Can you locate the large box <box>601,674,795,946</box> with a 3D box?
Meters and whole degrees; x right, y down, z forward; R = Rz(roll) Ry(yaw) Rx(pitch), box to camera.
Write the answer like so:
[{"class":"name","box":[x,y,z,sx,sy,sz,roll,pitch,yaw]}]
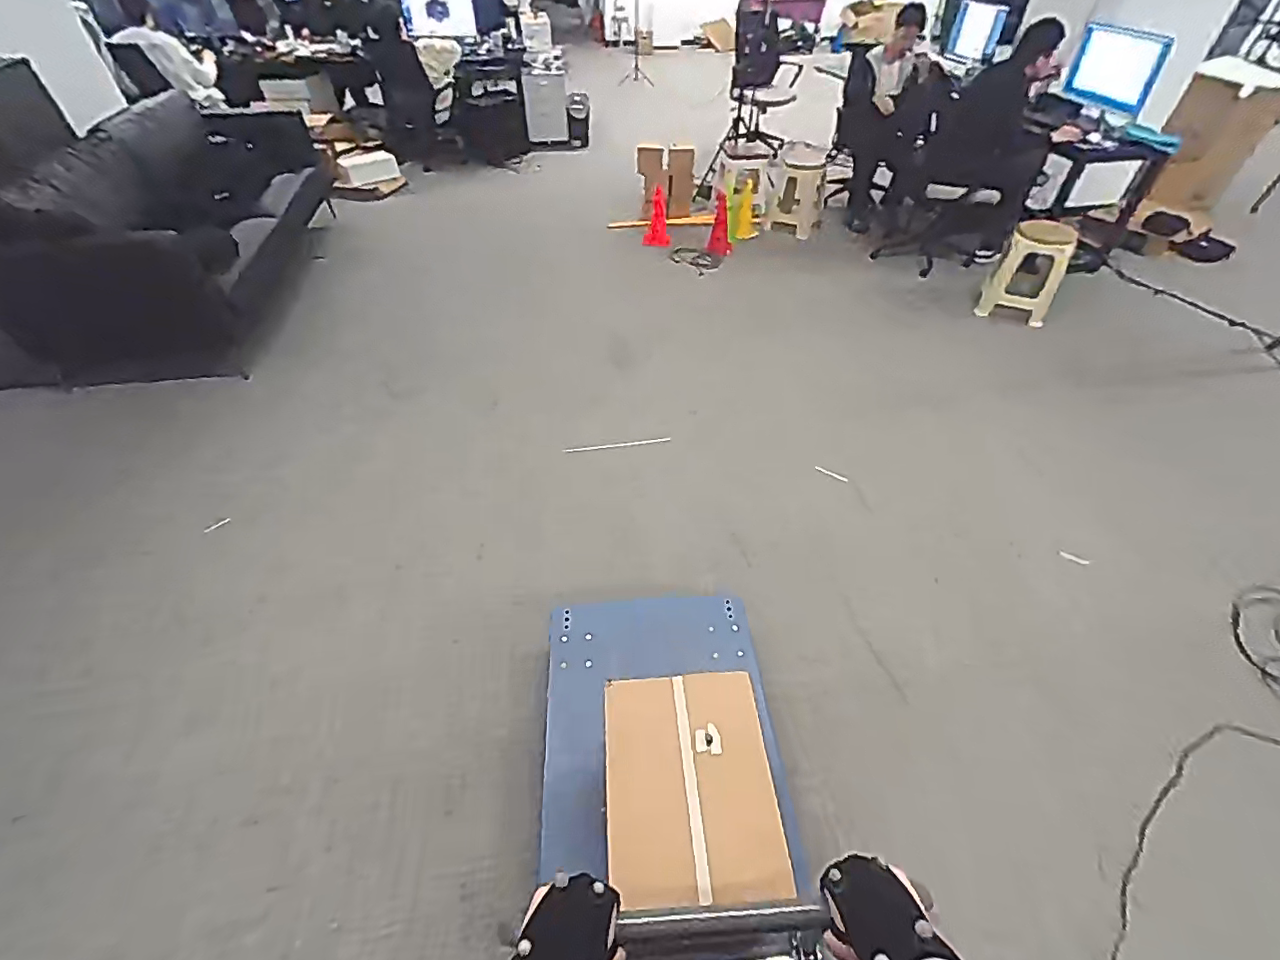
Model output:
[{"class":"large box","box":[0.088,0.674,1.123,0.320,0.320,0.408,-2,44,-4]}]
